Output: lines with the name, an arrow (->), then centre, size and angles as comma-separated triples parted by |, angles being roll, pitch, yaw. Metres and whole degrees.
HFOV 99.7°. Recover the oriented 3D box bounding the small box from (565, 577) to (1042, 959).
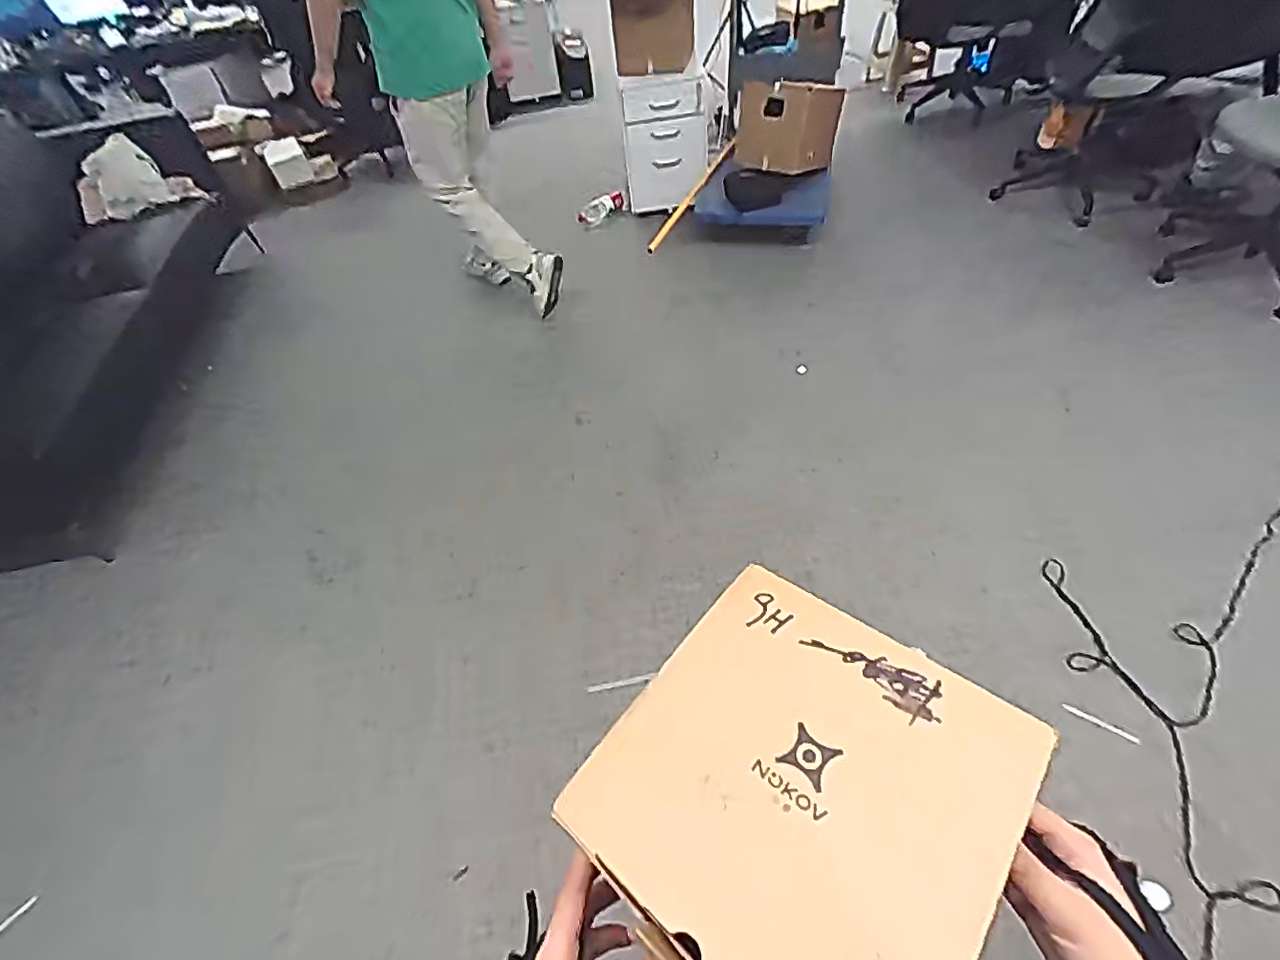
small box -> 0.090, 0.199, 0.317 | 0.168, 0.176, 0.179 | 27, 57, 33
